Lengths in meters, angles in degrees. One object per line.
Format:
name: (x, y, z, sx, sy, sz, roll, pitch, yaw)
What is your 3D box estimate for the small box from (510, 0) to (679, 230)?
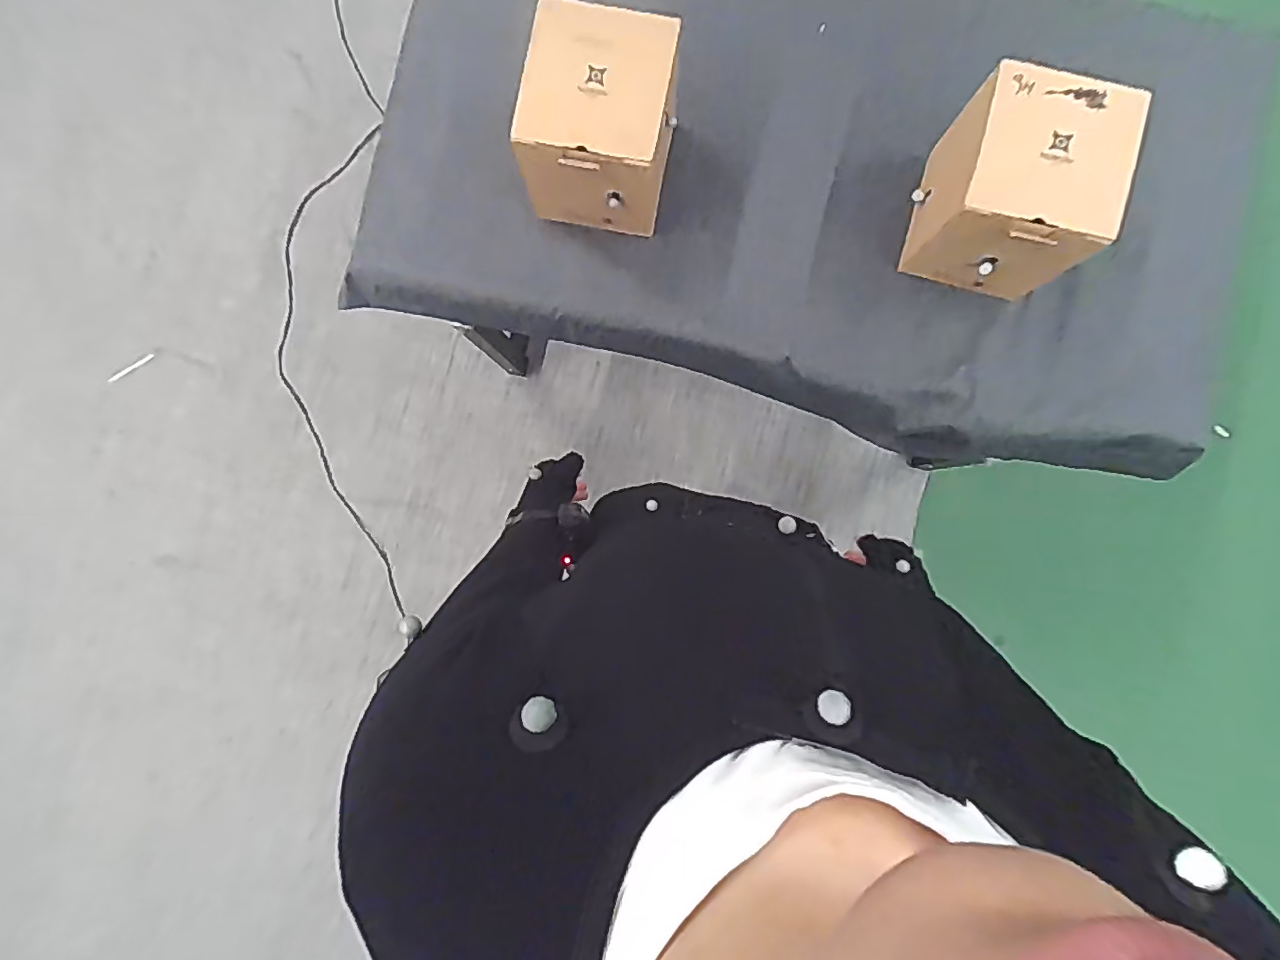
small box: (-0.050, -0.447, 0.684, 0.168, 0.176, 0.179, 10, 87, 0)

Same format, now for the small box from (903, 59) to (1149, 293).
small box: (0.453, -0.356, 0.668, 0.168, 0.176, 0.179, 16, 89, 2)
